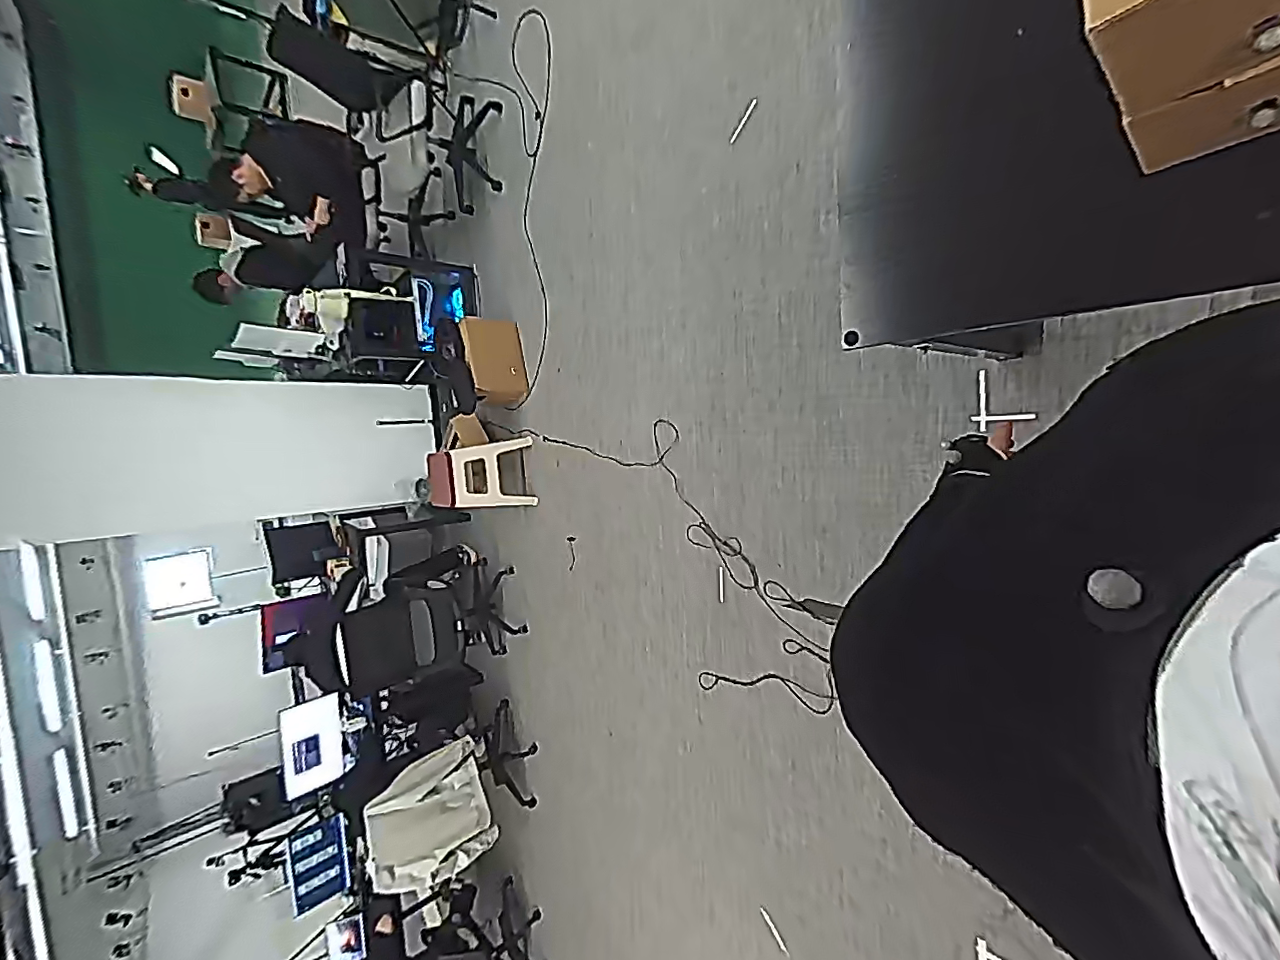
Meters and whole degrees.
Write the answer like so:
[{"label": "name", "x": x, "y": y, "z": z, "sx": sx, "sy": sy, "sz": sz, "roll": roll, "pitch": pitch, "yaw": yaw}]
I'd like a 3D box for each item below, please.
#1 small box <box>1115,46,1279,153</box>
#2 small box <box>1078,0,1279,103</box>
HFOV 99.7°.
[{"label": "small box", "x": 0.525, "y": -0.411, "z": 0.460, "sx": 0.168, "sy": 0.176, "sz": 0.179, "roll": -4, "pitch": 93, "yaw": 50}, {"label": "small box", "x": 0.399, "y": -0.400, "z": 0.352, "sx": 0.168, "sy": 0.176, "sz": 0.179, "roll": -6, "pitch": 91, "yaw": 50}]
